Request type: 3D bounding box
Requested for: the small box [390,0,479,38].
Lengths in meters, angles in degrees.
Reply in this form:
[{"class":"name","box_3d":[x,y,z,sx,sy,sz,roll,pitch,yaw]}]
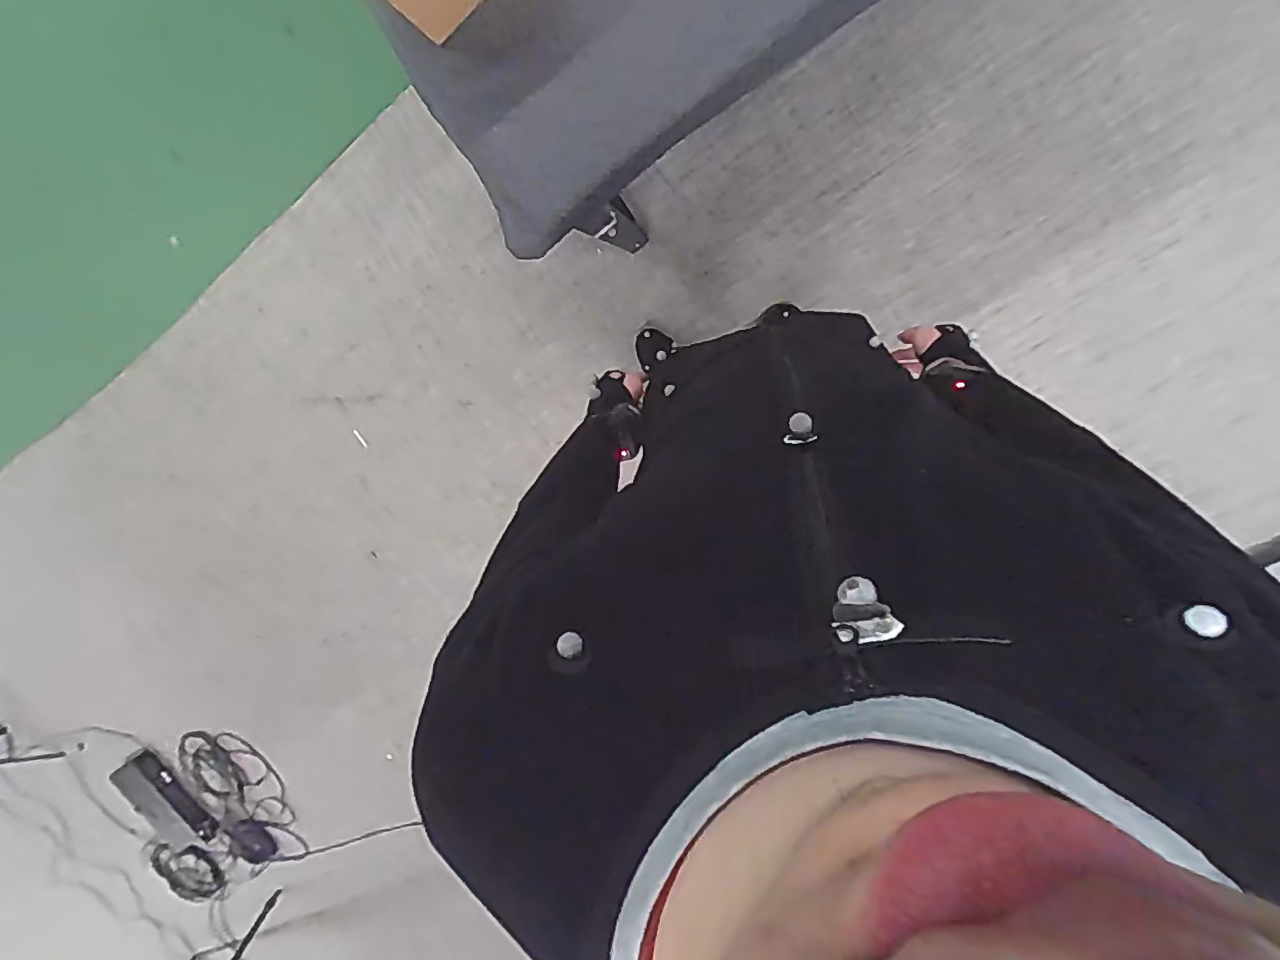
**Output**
[{"class":"small box","box_3d":[-0.244,-0.639,0.575,0.179,0.176,0.168,-32,101,18]}]
